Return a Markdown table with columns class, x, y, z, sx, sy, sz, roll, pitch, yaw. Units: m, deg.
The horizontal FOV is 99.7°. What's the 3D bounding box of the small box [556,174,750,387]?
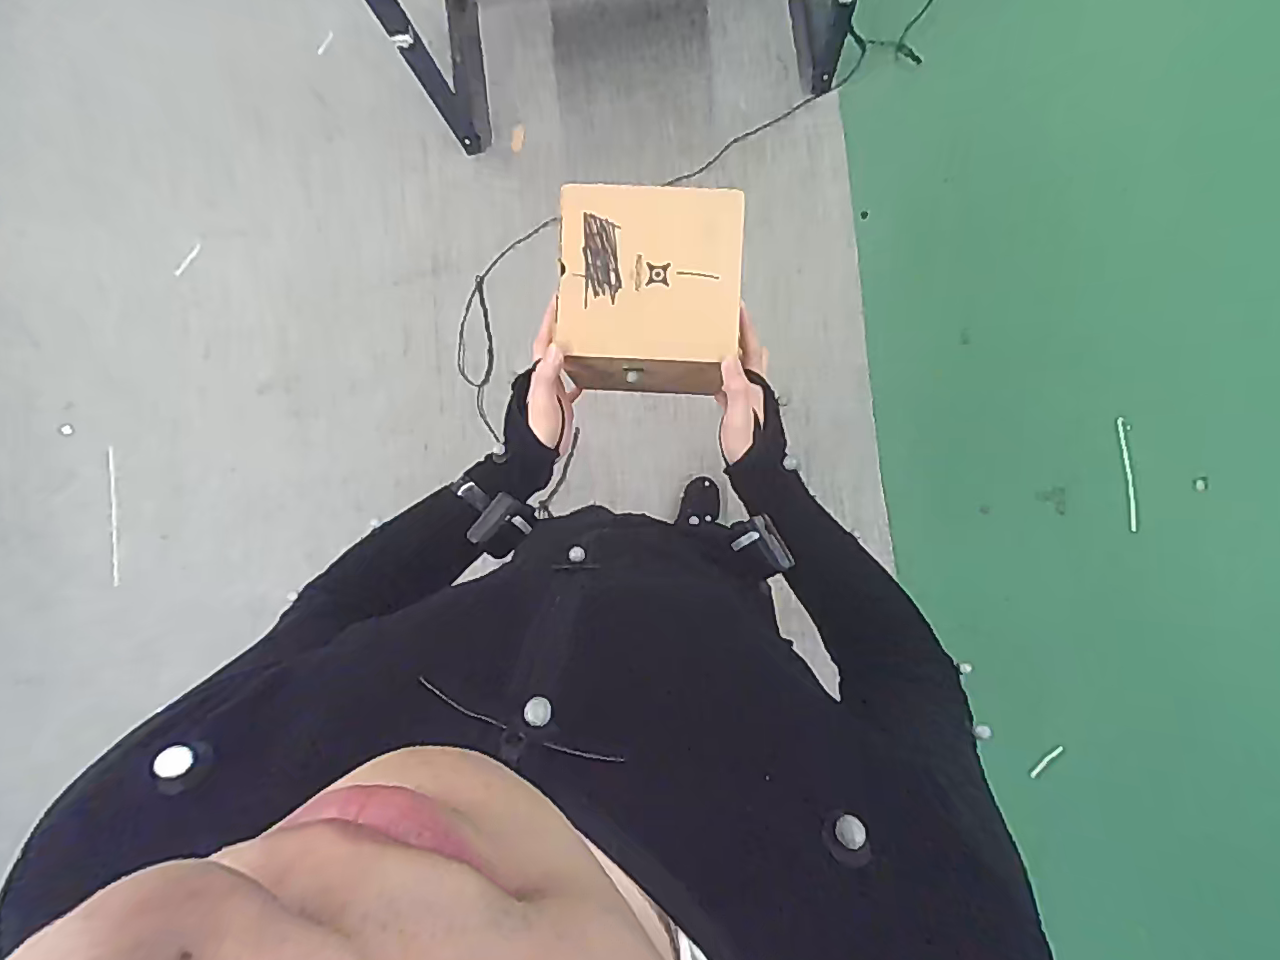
| class | x | y | z | sx | sy | sz | roll | pitch | yaw |
| --- | --- | --- | --- | --- | --- | --- | --- | --- | --- |
| small box | 0.014 | -0.200 | 0.584 | 0.179 | 0.176 | 0.168 | 3 | 88 | 1 |
